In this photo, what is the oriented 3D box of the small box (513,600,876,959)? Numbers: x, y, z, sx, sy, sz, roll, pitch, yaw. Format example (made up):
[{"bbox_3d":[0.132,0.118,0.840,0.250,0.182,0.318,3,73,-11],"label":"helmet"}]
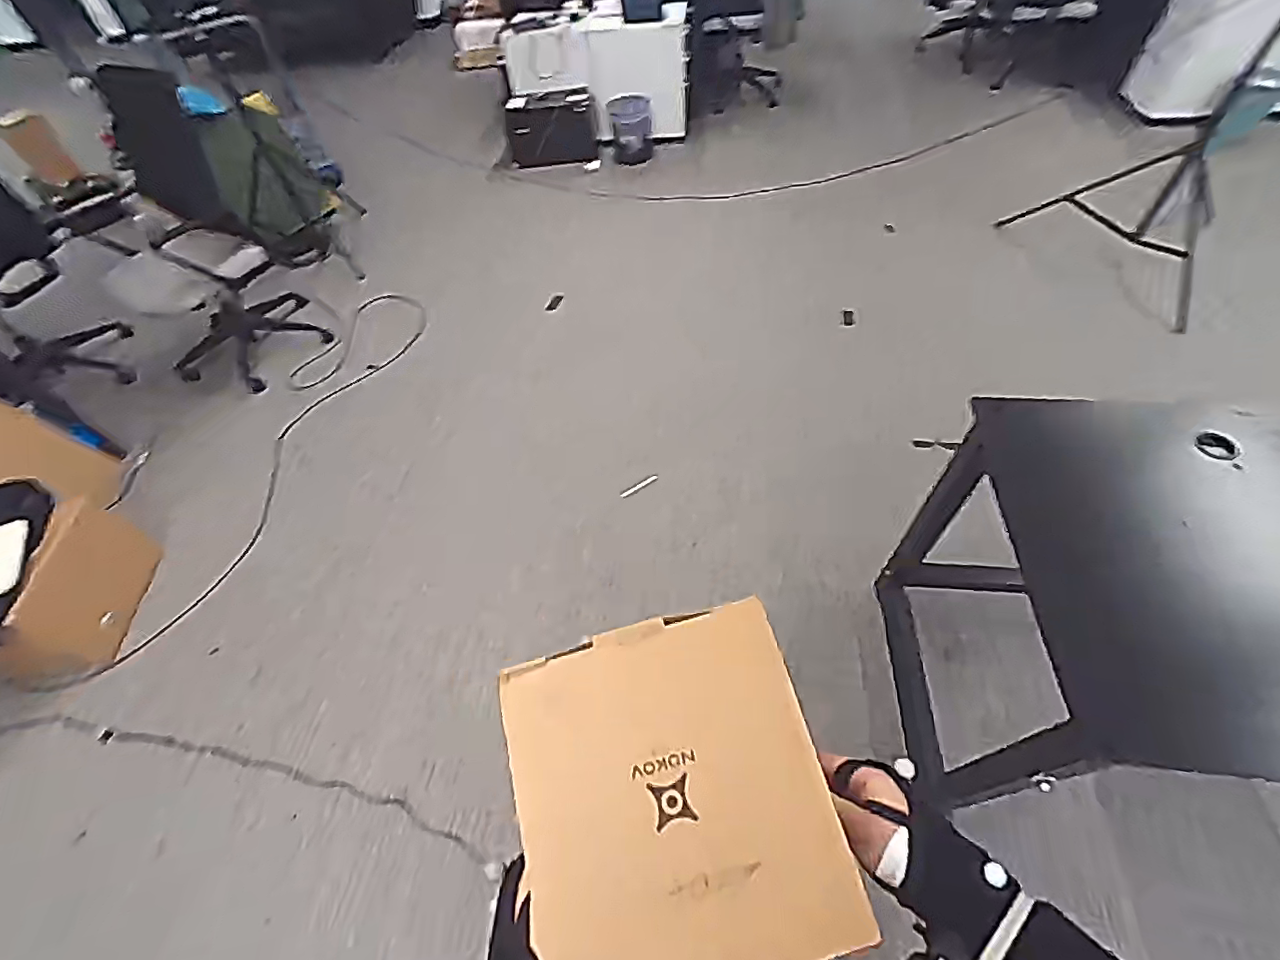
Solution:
[{"bbox_3d":[0.026,0.201,0.374,0.168,0.176,0.179,-16,68,-1],"label":"small box"}]
